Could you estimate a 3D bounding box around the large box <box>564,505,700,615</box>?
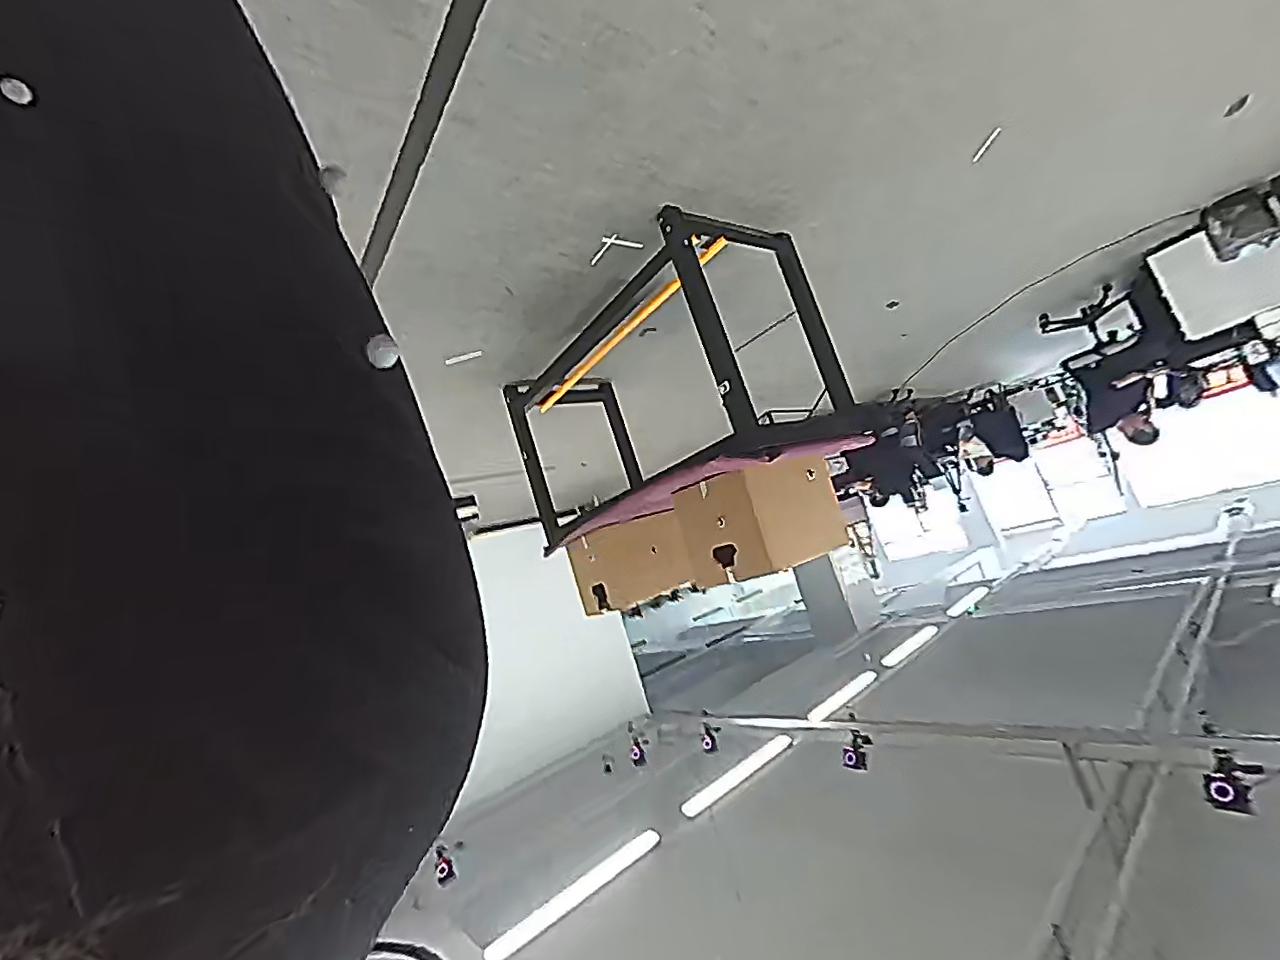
[{"bbox_3d":[-0.037,0.321,2.213,0.408,0.320,0.320,-12,170,-40],"label":"large box"}]
